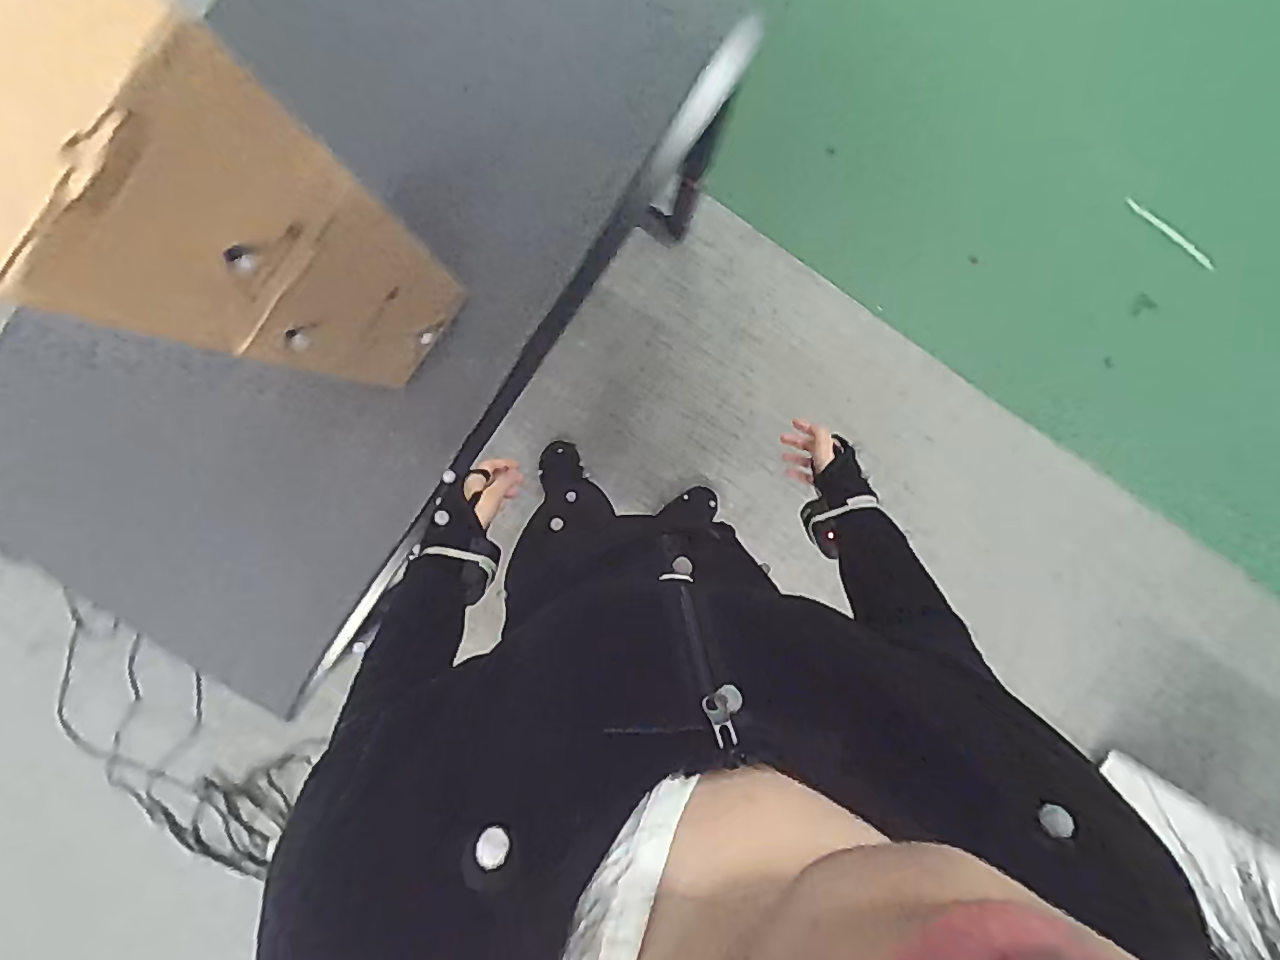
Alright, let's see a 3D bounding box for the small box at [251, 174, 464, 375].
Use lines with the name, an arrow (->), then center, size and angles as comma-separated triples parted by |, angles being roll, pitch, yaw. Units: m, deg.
small box -> -0.344, -0.242, 0.642 | 0.179, 0.176, 0.168 | 37, 92, -4
